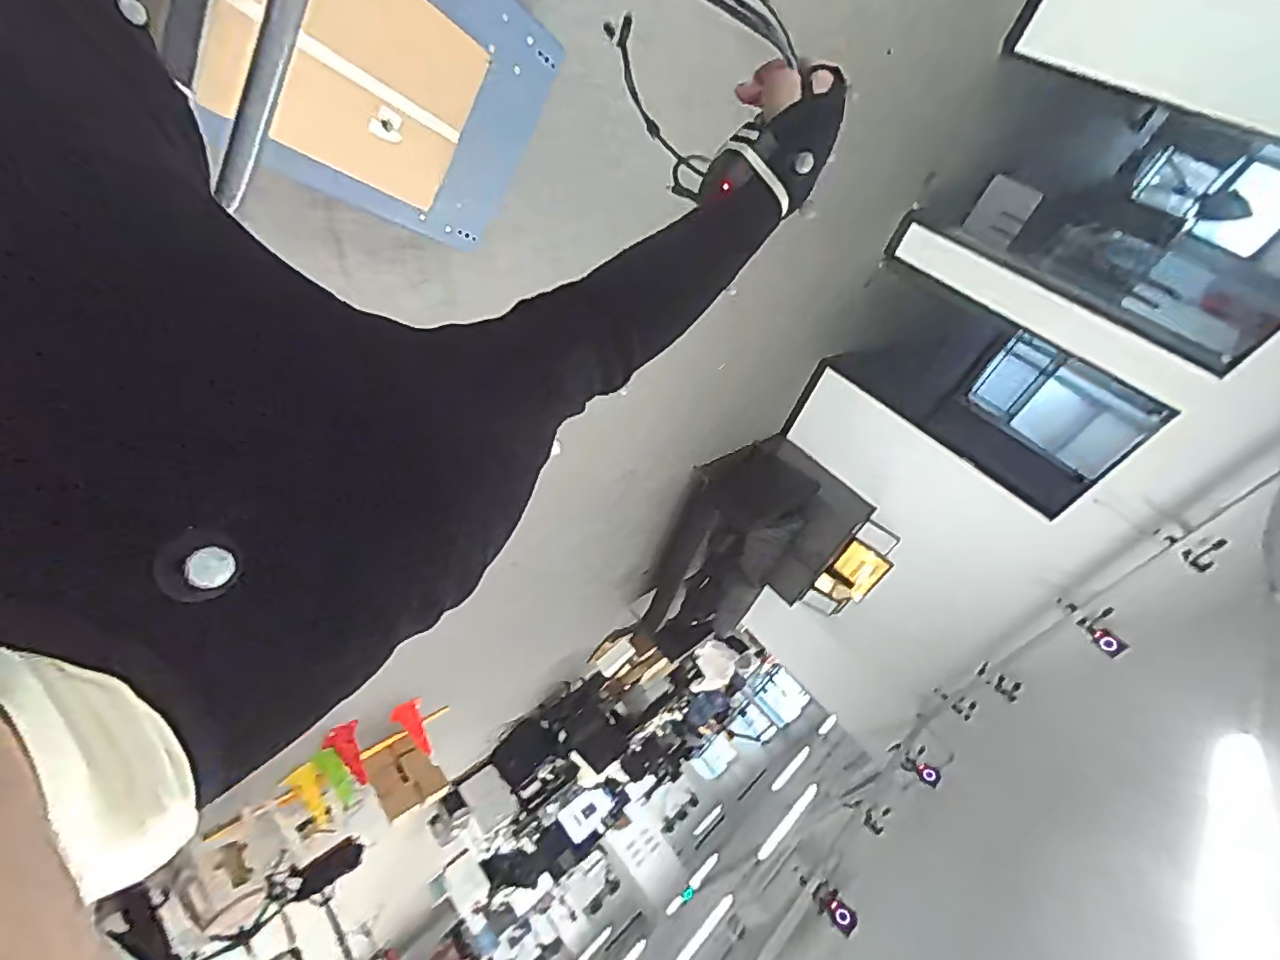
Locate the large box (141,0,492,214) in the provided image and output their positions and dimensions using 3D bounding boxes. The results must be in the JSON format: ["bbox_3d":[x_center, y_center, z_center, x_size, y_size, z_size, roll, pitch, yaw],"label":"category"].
[{"bbox_3d":[-0.558,-0.754,0.957,0.320,0.320,0.408,-55,155,20],"label":"large box"}]
